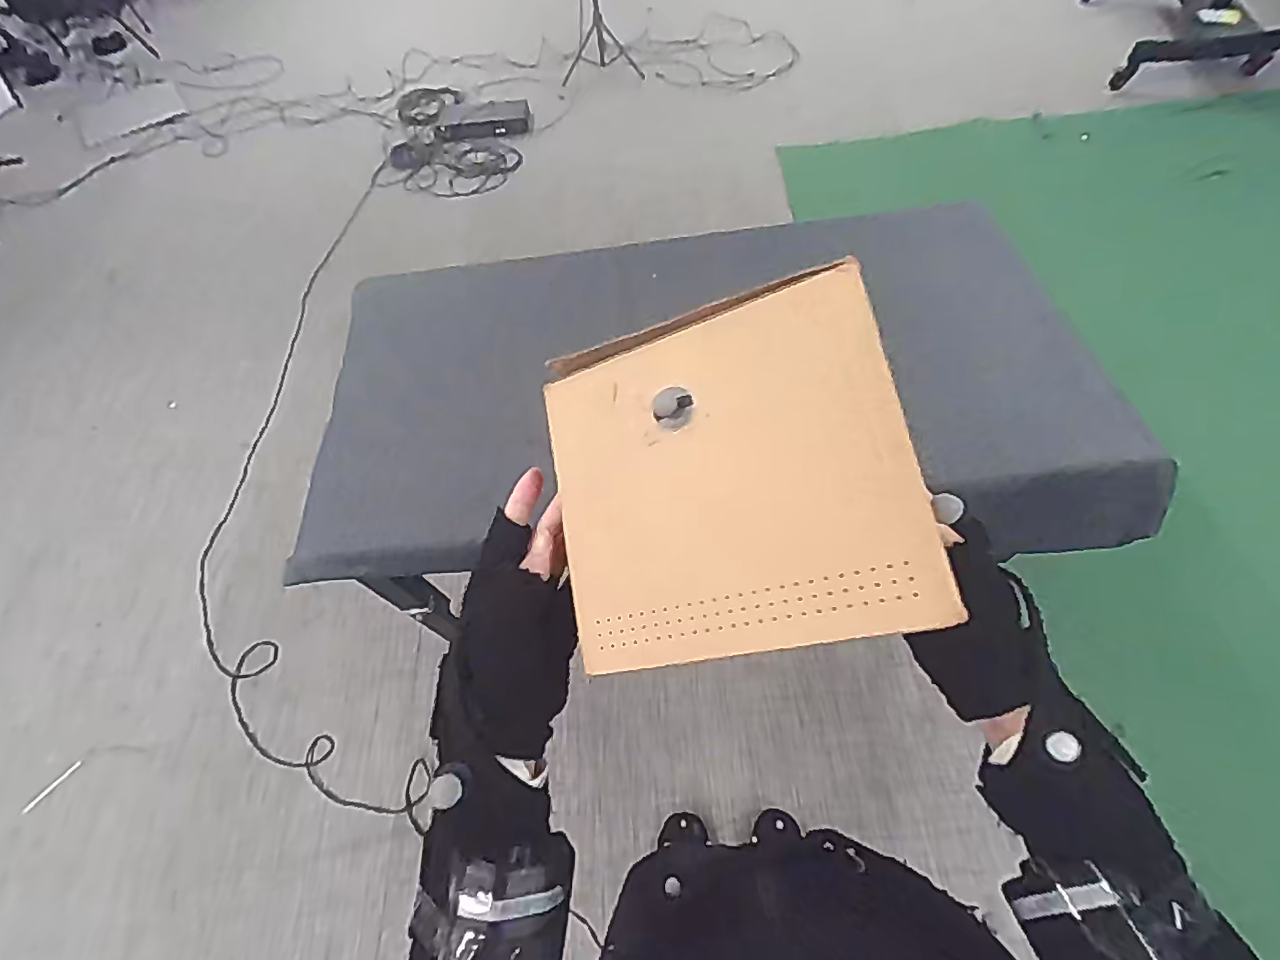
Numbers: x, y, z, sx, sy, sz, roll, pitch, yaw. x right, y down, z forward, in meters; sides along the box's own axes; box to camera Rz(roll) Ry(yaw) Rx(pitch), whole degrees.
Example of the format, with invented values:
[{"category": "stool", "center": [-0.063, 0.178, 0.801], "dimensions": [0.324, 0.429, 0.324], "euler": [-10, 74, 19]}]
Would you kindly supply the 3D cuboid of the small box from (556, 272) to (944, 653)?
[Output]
[{"category": "small box", "center": [0.072, 0.009, 0.348], "dimensions": [0.179, 0.168, 0.176], "euler": [-16, 76, 23]}]
